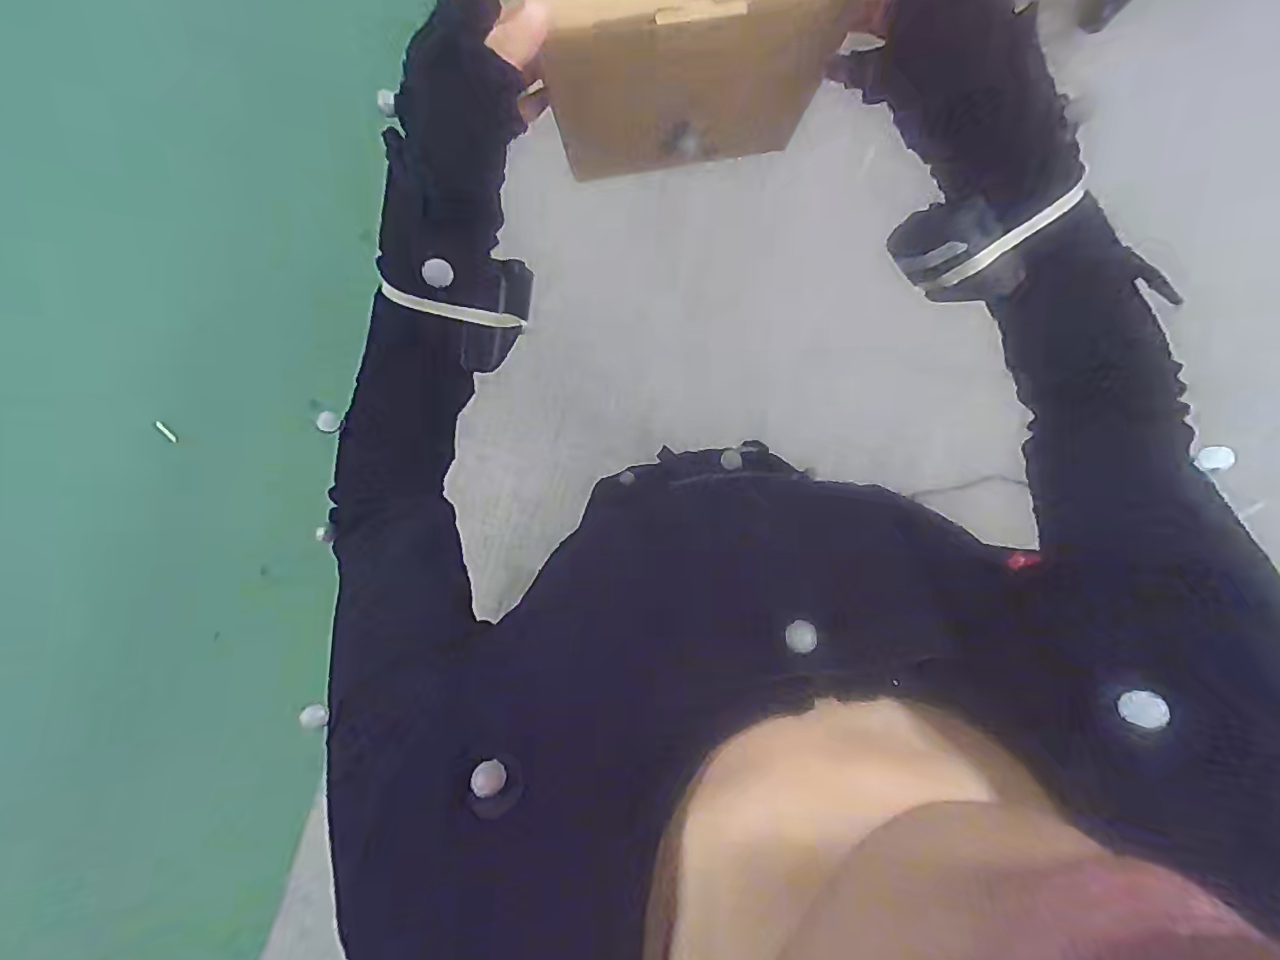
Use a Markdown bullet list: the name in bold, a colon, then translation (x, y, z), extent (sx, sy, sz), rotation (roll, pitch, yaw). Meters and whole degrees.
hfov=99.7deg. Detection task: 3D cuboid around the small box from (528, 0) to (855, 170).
- **small box**: translation (0.018, -0.321, 0.321), extent (0.168, 0.176, 0.179), rotation (-7, 96, 2)
